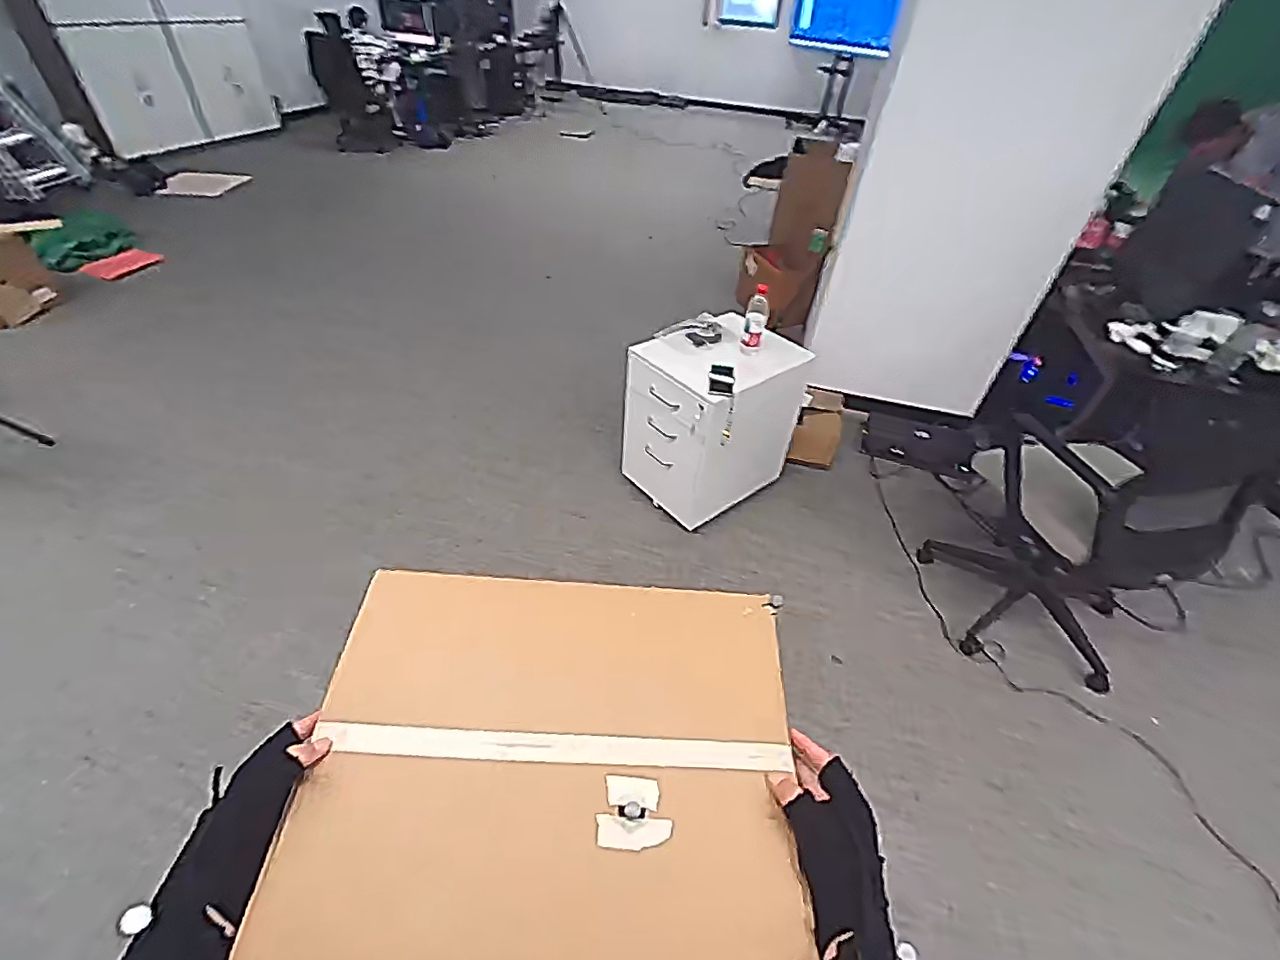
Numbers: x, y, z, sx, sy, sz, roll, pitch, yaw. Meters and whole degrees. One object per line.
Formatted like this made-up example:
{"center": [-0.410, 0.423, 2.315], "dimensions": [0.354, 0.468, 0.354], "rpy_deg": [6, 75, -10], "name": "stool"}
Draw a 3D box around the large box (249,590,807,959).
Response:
{"center": [-0.089, 0.334, 0.584], "dimensions": [0.408, 0.320, 0.320], "rpy_deg": [4, 52, -4], "name": "large box"}
